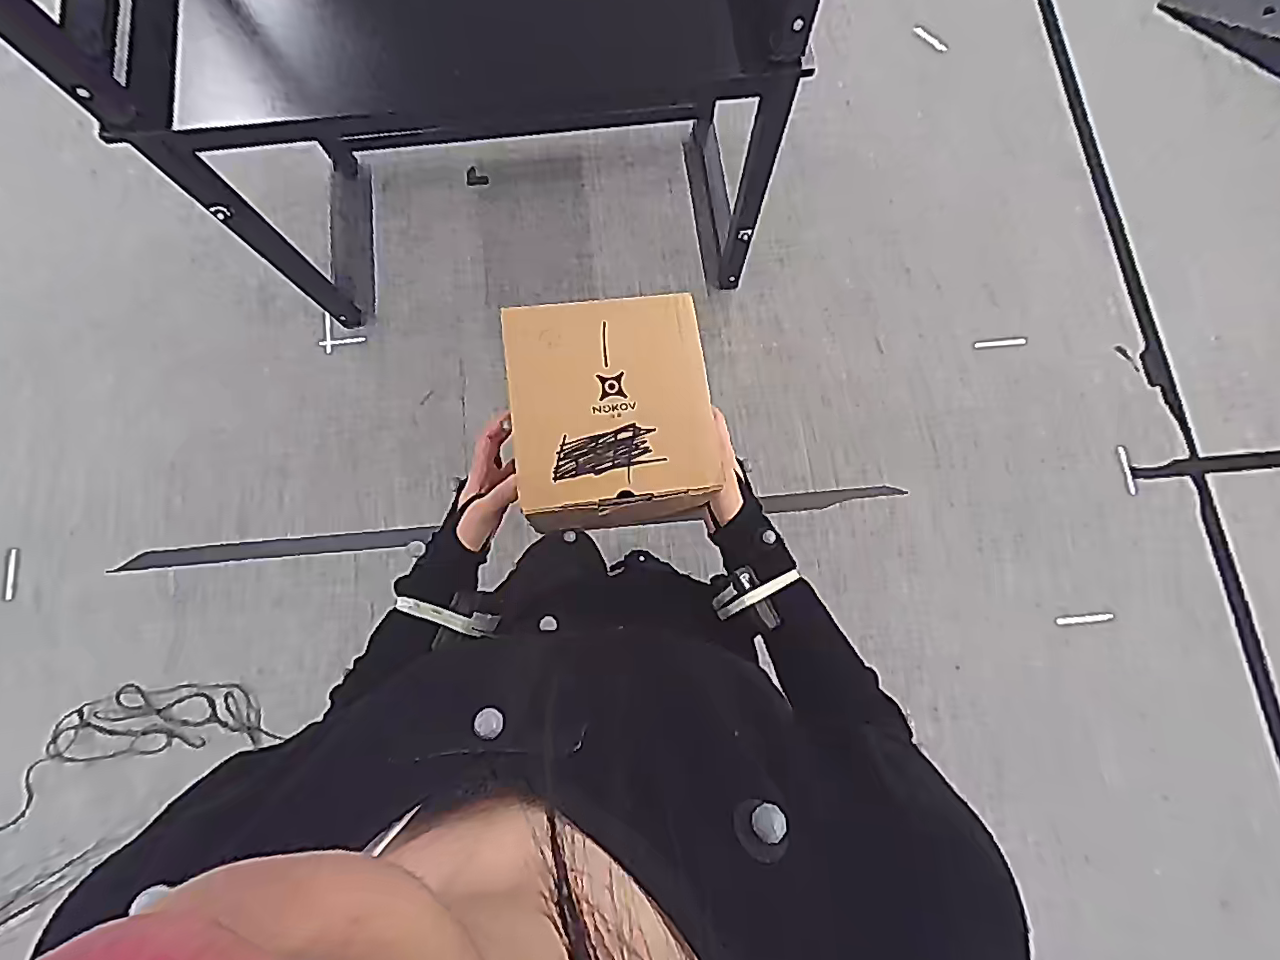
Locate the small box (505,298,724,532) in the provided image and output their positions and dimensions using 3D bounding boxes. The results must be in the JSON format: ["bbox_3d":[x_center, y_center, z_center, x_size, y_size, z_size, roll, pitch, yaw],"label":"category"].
[{"bbox_3d":[-0.028,-0.048,0.522,0.168,0.176,0.179,-7,78,-7],"label":"small box"}]
